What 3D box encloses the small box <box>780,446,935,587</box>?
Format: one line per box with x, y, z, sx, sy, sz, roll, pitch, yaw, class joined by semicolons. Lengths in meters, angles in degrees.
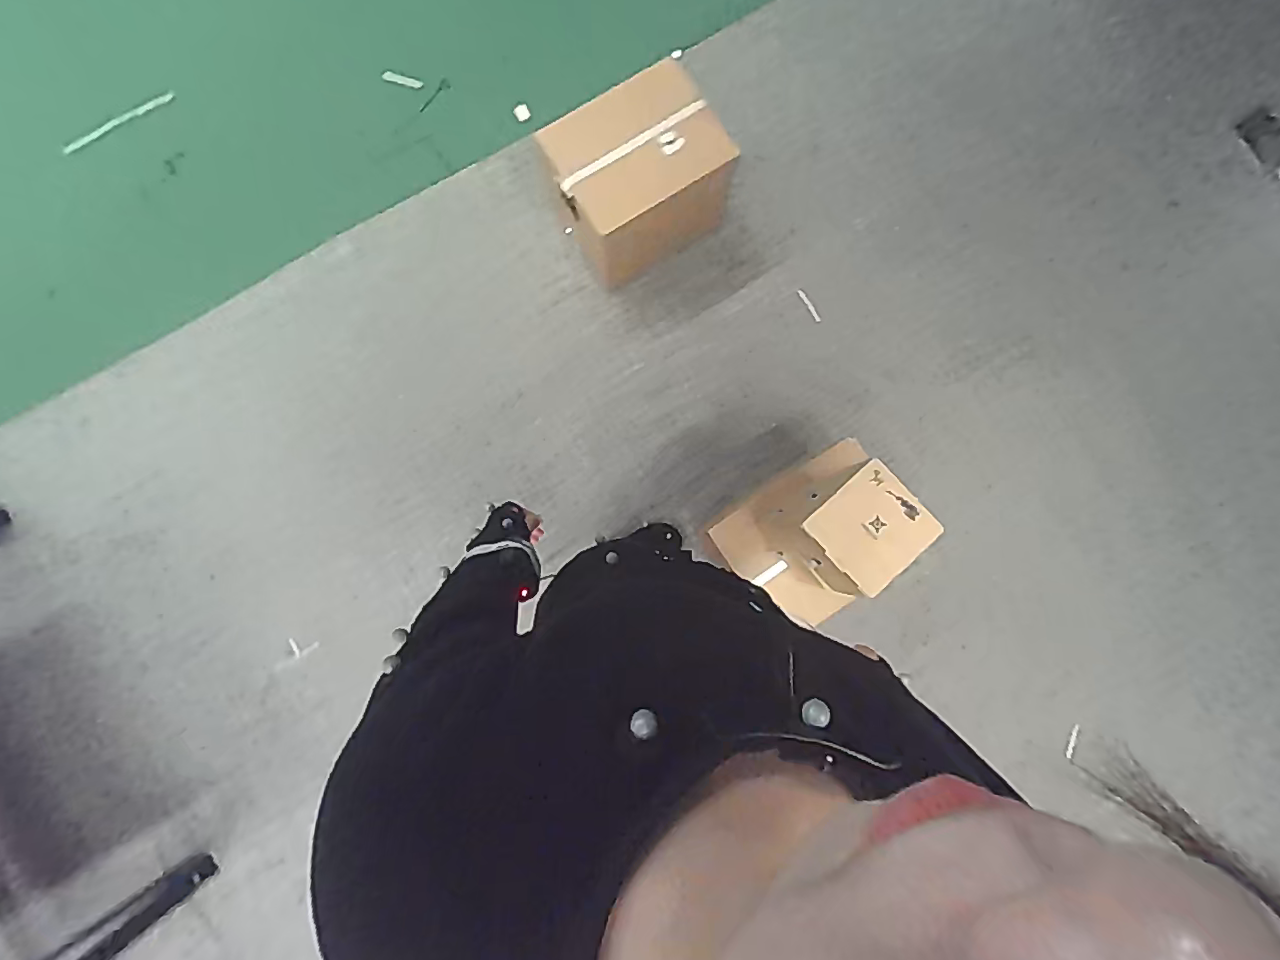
0.371;0.067;0.968;0.179;0.176;0.168;-44;85;-3;small box
